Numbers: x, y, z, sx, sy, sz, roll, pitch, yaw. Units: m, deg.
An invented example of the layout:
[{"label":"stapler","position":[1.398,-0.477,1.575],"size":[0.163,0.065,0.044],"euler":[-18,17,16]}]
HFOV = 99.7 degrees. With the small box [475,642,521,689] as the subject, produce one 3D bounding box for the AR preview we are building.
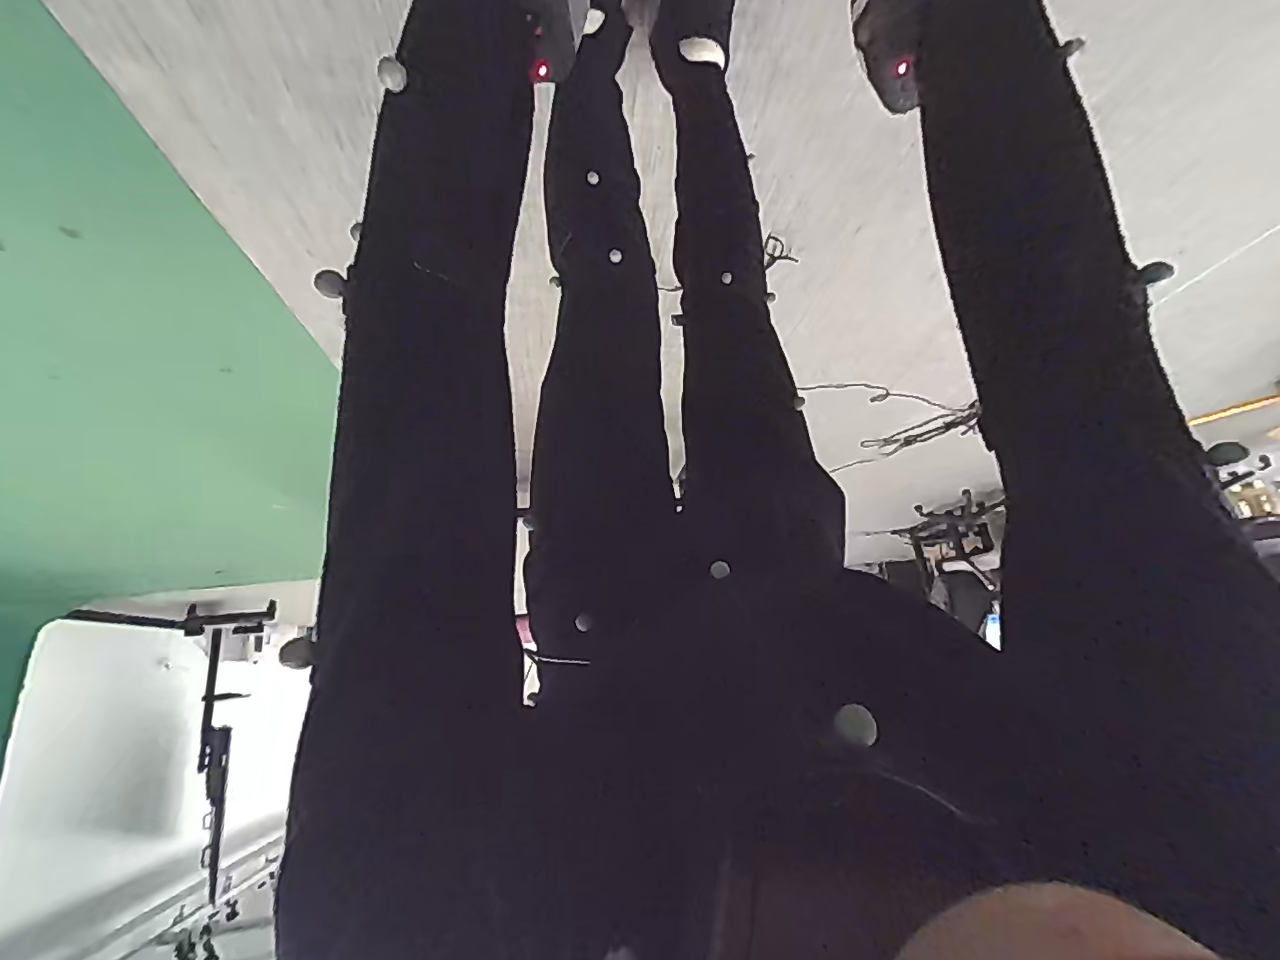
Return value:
[{"label":"small box","position":[-0.607,0.797,2.324],"size":[0.168,0.176,0.179],"euler":[-7,159,-6]}]
